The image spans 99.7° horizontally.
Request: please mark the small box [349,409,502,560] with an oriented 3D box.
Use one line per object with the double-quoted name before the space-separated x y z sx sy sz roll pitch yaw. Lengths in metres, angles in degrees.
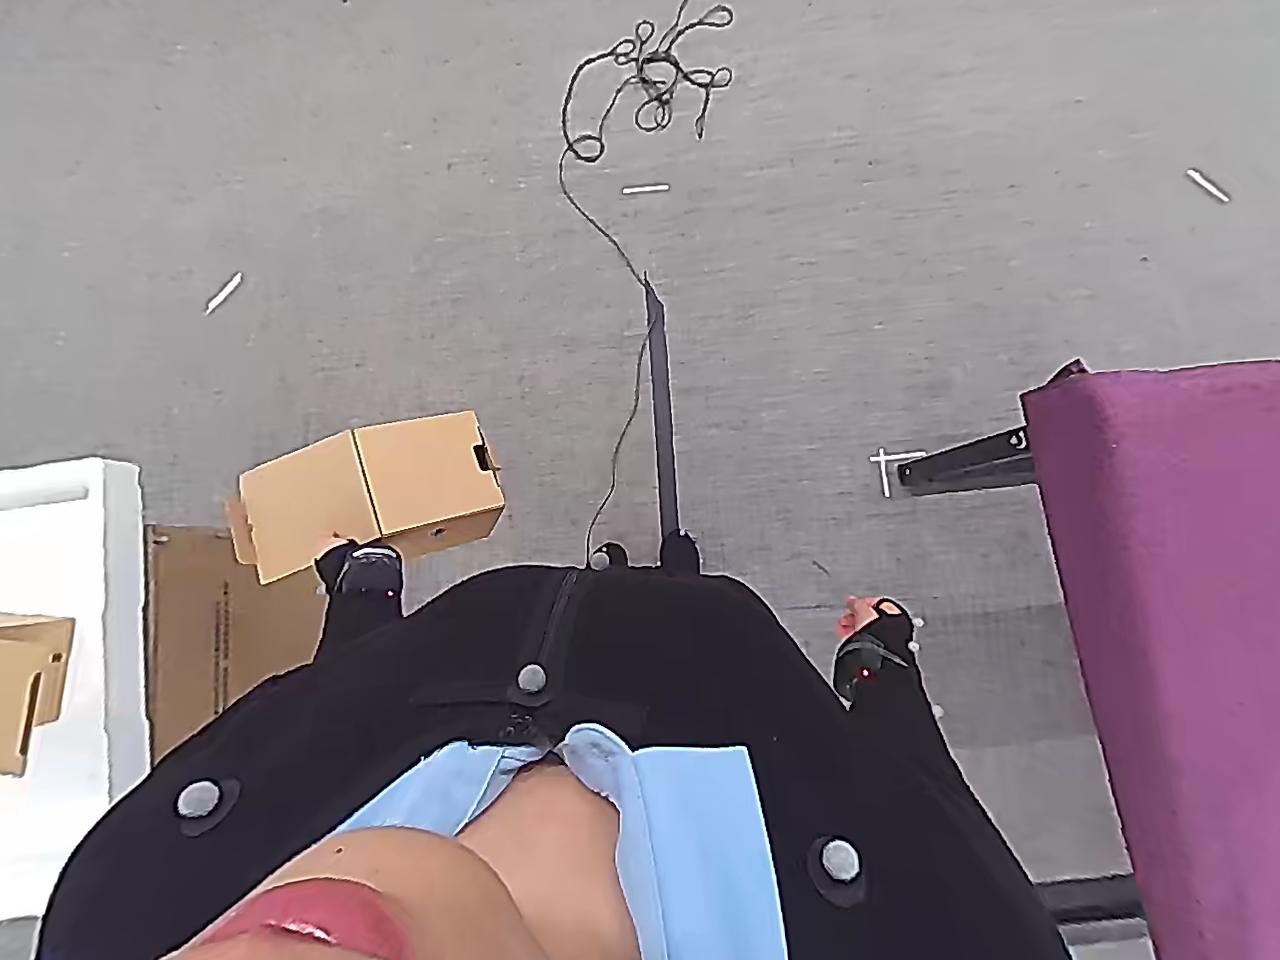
"small box" -0.332 0.012 0.834 0.179 0.176 0.168 -14 76 -30
